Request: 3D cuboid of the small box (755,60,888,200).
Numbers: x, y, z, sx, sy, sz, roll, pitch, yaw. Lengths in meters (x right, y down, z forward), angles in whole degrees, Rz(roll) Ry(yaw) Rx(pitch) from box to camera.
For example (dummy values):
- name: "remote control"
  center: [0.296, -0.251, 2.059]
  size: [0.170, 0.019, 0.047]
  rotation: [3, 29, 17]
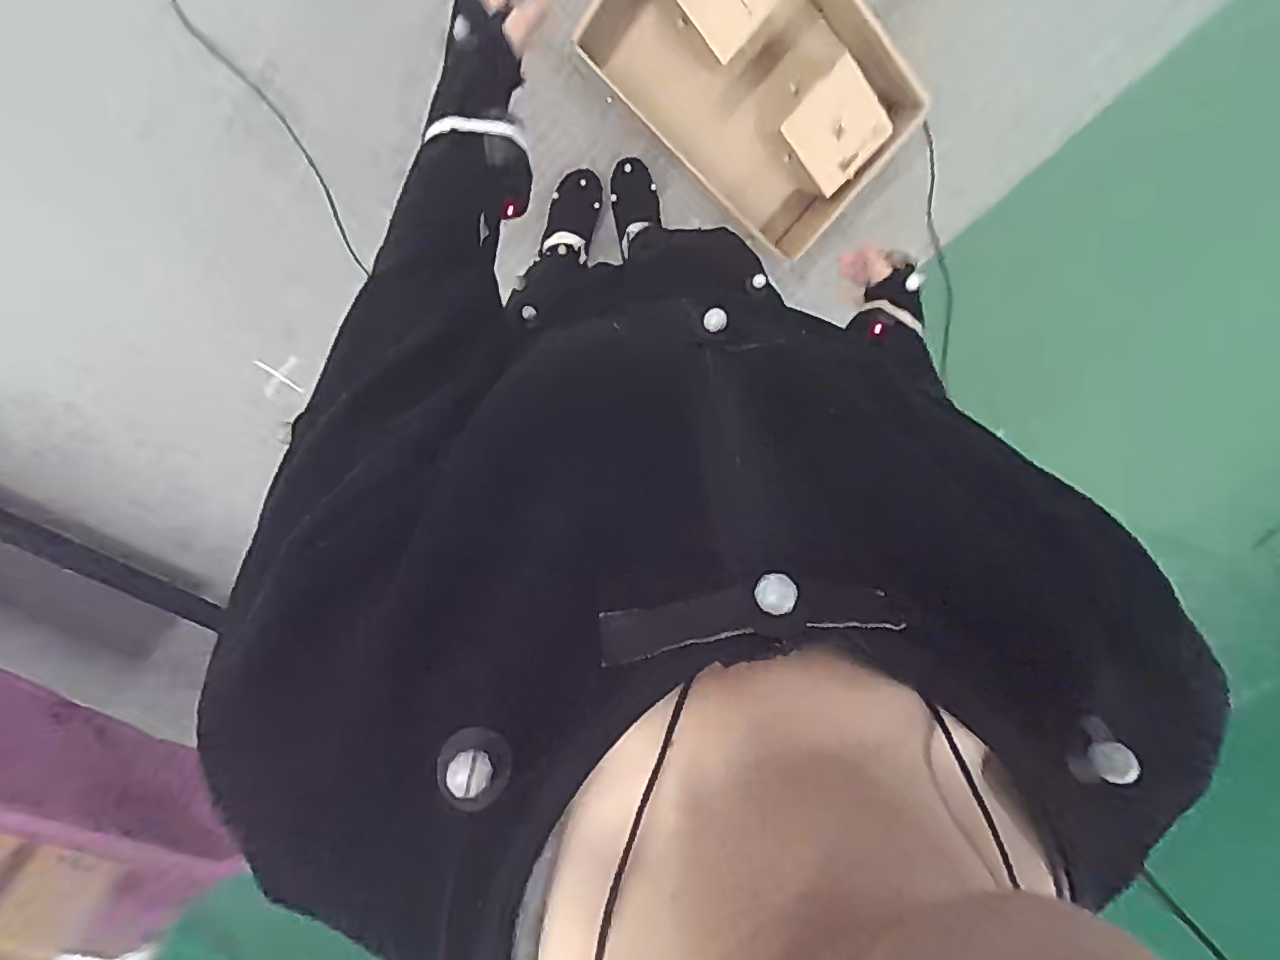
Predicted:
- name: "small box"
  center: [0.368, -0.716, 1.125]
  size: [0.168, 0.176, 0.179]
  rotation: [-41, 118, 18]
